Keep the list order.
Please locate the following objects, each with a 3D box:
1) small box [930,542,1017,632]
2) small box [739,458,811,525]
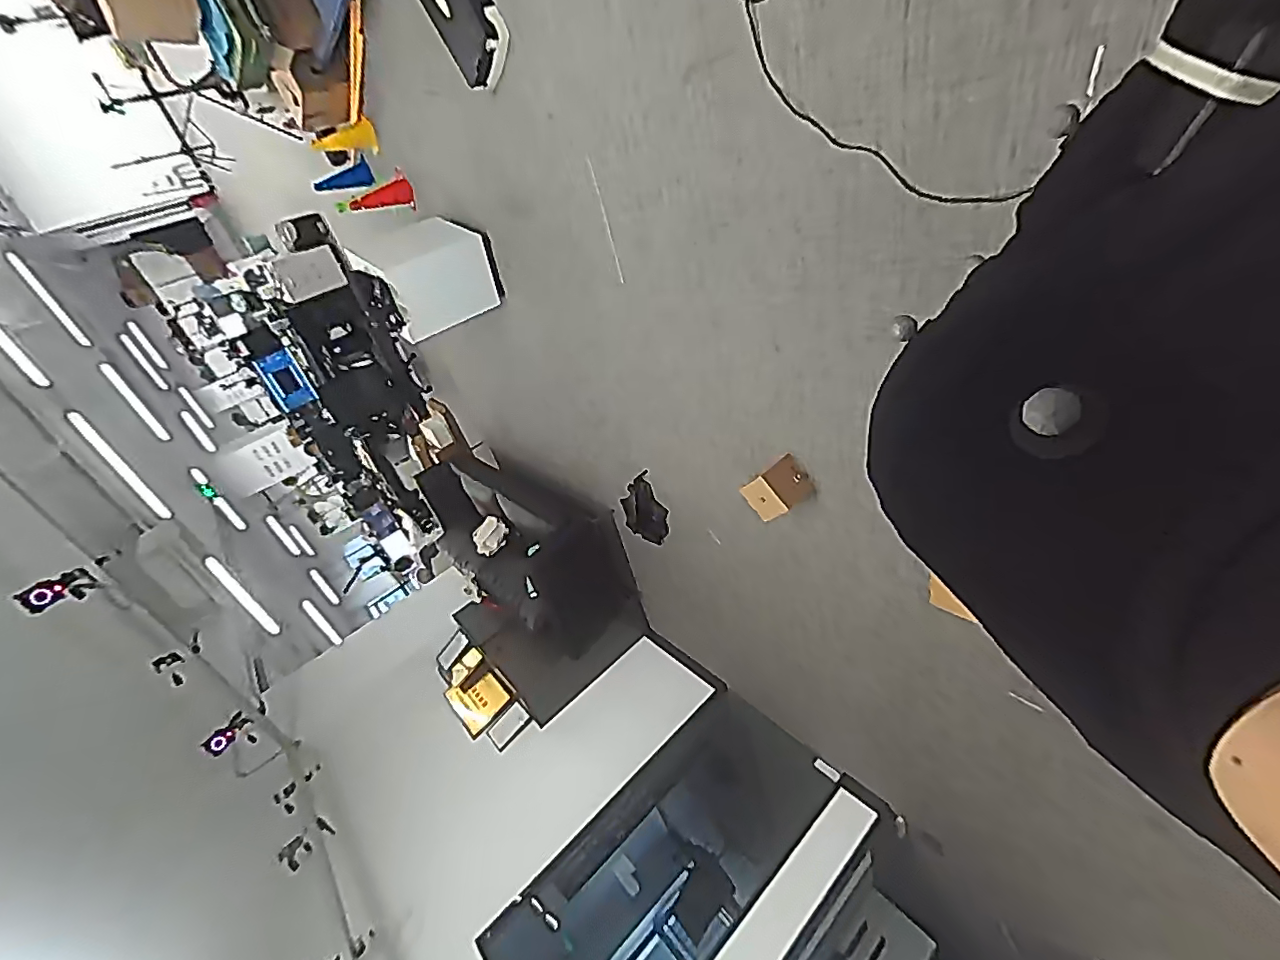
[{"bbox_3d":[0.992,0.310,1.610,0.179,0.176,0.168,23,140,48],"label":"small box"},{"bbox_3d":[0.523,0.043,2.081,0.168,0.176,0.179,51,153,5],"label":"small box"}]
